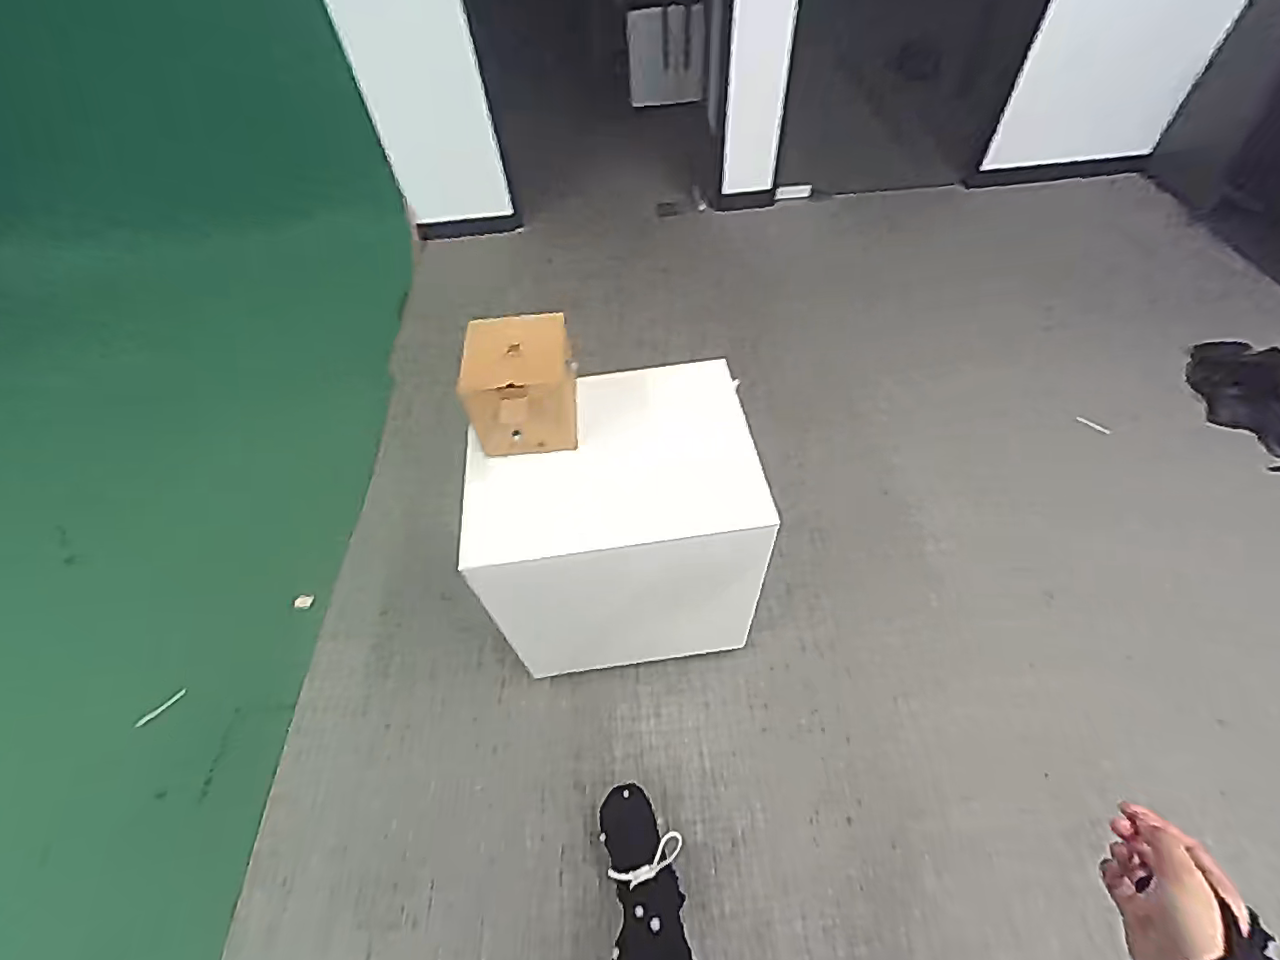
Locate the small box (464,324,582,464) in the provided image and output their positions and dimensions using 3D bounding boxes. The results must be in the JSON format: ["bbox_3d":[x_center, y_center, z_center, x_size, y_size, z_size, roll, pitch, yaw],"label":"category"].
[{"bbox_3d":[-0.196,-0.149,0.952,0.168,0.176,0.179,-5,53,-1],"label":"small box"}]
